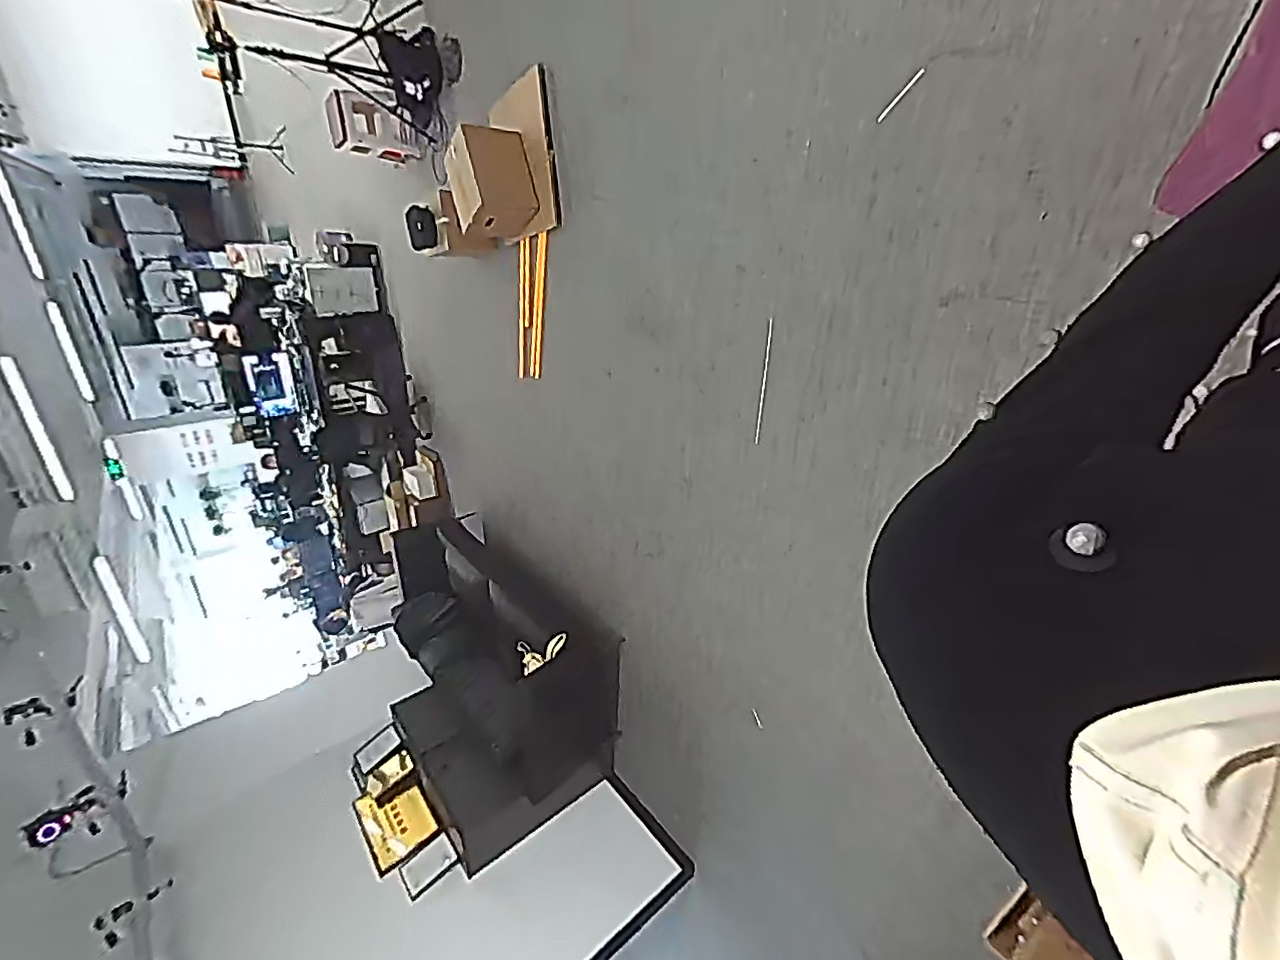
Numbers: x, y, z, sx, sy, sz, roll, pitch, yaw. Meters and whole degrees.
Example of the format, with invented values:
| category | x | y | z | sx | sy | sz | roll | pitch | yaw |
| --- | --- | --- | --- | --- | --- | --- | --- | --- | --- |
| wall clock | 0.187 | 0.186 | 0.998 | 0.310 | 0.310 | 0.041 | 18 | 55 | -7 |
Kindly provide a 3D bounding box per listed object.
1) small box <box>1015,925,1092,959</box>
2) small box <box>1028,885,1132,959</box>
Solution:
| category | x | y | z | sx | sy | sz | roll | pitch | yaw |
| --- | --- | --- | --- | --- | --- | --- | --- | --- | --- |
| small box | 1.095 | 1.335 | 1.419 | 0.168 | 0.176 | 0.179 | 36 | 131 | 39 |
| small box | 1.225 | 1.299 | 1.512 | 0.168 | 0.176 | 0.179 | 34 | 129 | 40 |
